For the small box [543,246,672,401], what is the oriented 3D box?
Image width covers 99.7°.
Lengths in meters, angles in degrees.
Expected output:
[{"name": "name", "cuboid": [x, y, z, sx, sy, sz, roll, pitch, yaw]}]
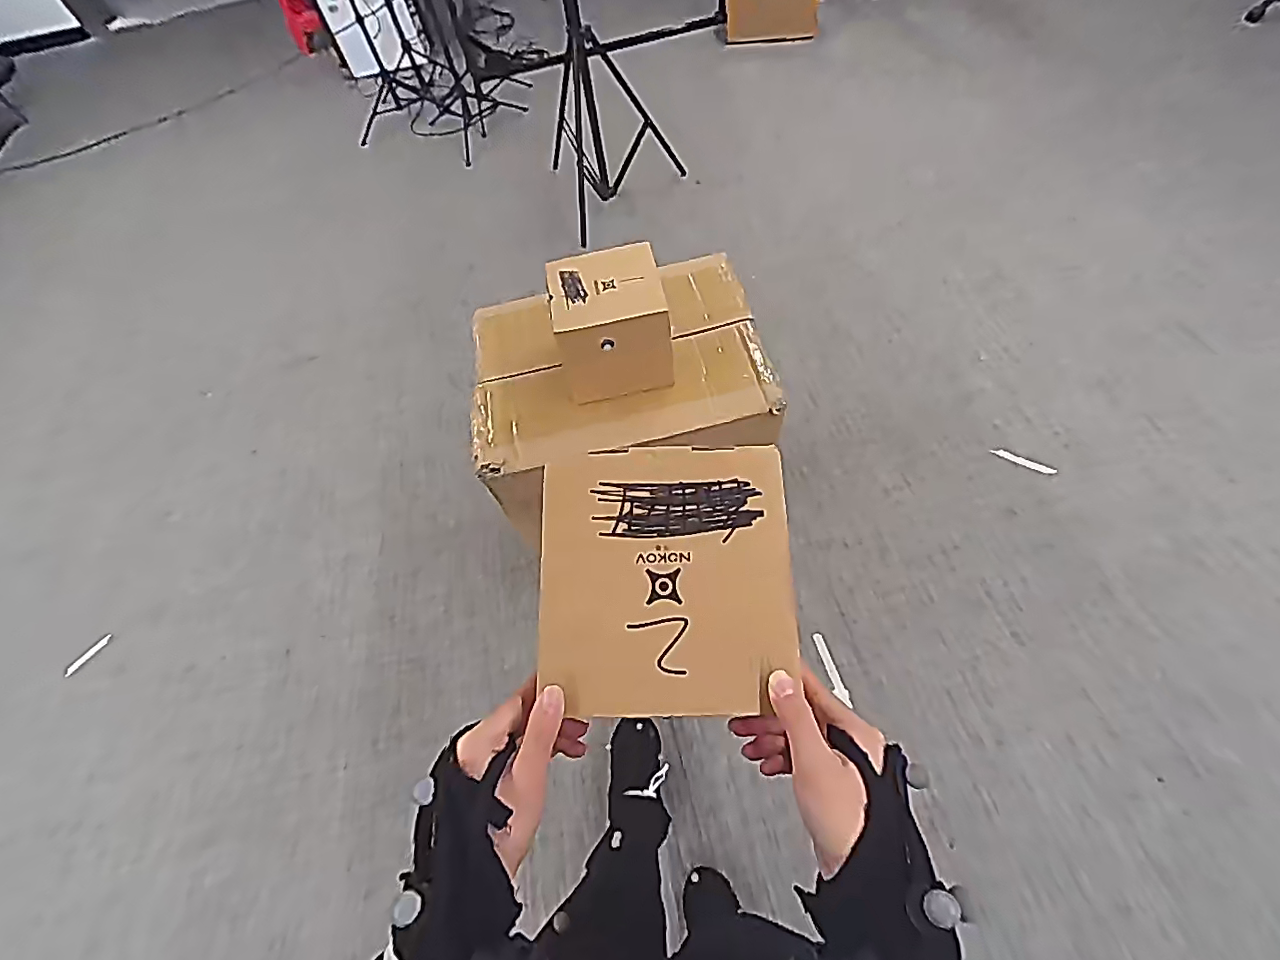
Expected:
[{"name": "small box", "cuboid": [-0.051, -0.253, 0.902, 0.179, 0.176, 0.168, -12, 59, 0]}]
